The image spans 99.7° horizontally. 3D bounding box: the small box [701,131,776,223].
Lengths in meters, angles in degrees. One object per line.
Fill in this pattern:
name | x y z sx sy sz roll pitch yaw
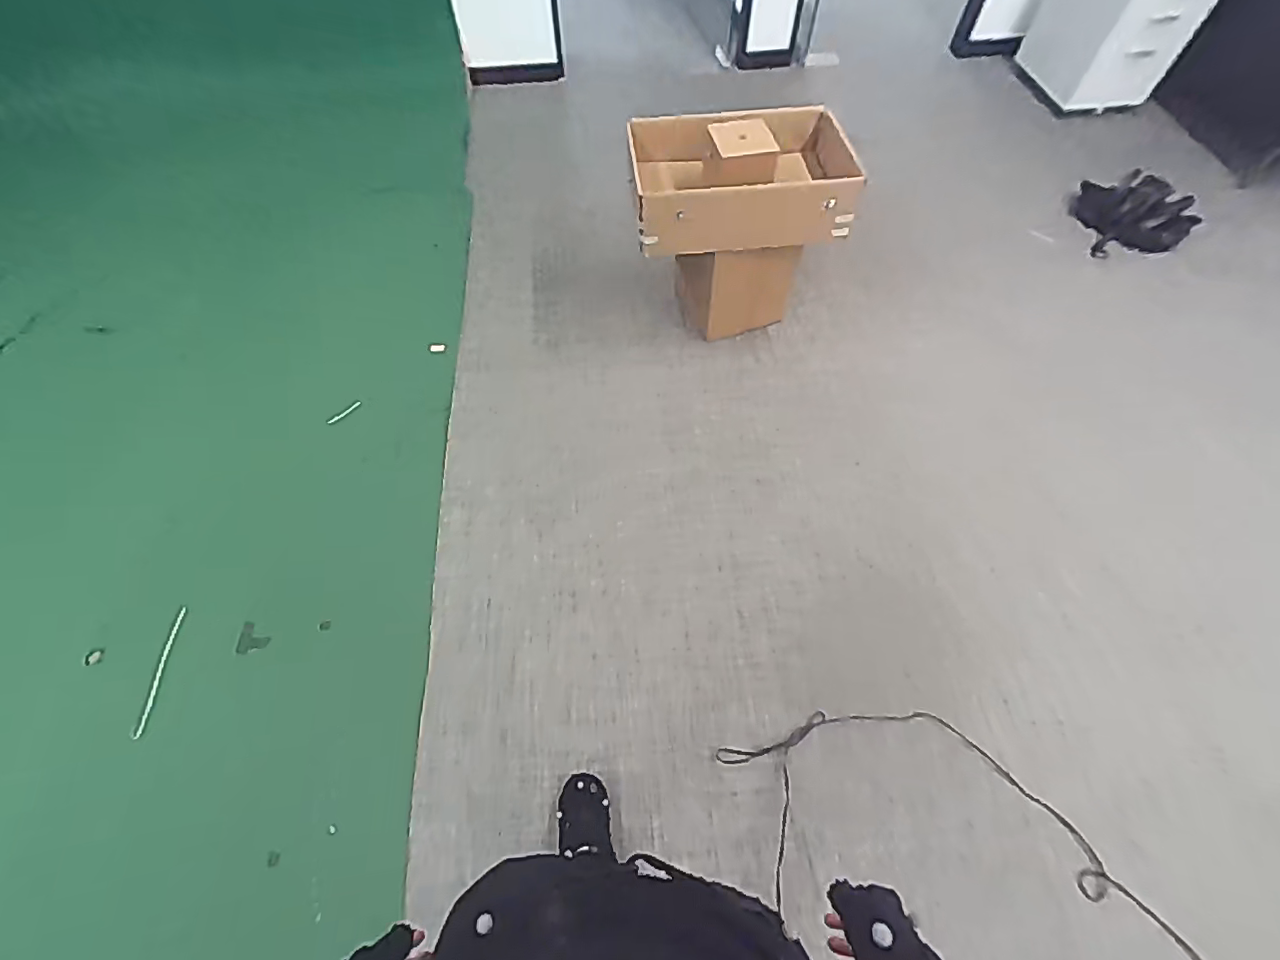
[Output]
small box | 0.279 -0.884 1.581 0.168 0.176 0.179 -9 59 -4
